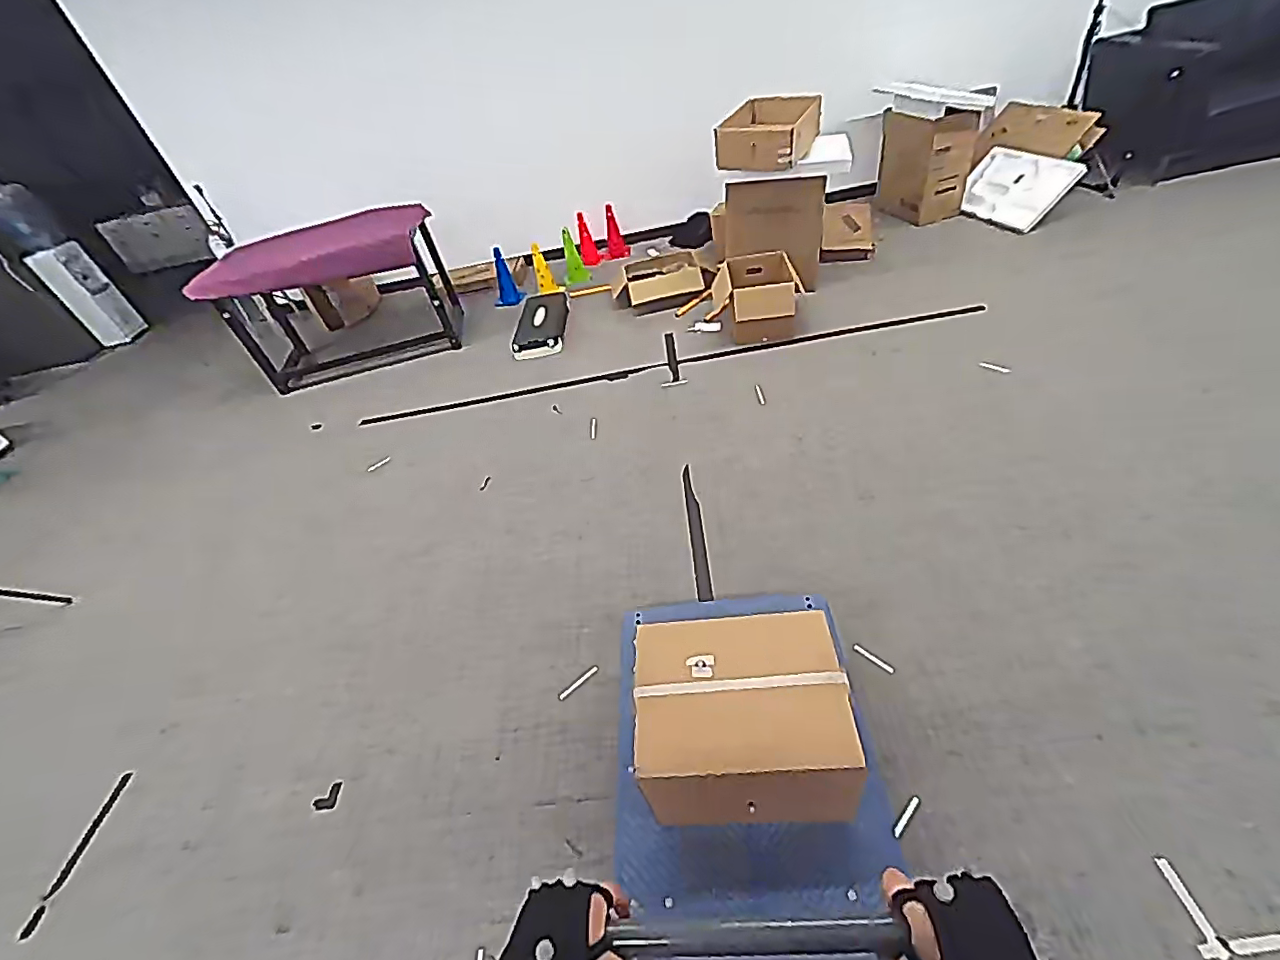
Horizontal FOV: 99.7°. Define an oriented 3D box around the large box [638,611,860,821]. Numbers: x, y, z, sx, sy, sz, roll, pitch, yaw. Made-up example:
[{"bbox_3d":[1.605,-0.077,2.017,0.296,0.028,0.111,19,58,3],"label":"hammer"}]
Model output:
[{"bbox_3d":[0.221,0.519,1.176,0.408,0.320,0.320,-8,42,8],"label":"large box"}]
